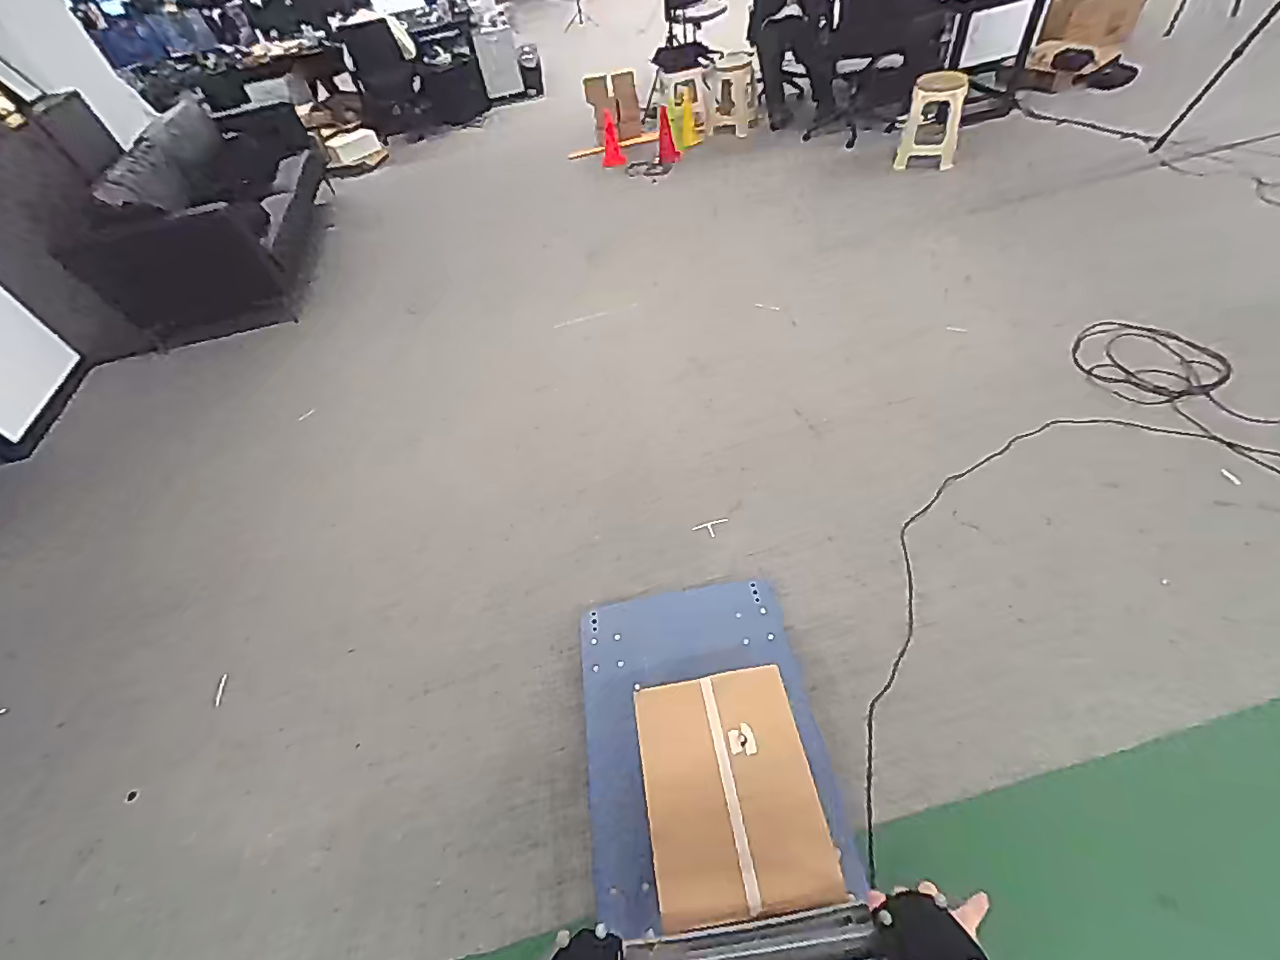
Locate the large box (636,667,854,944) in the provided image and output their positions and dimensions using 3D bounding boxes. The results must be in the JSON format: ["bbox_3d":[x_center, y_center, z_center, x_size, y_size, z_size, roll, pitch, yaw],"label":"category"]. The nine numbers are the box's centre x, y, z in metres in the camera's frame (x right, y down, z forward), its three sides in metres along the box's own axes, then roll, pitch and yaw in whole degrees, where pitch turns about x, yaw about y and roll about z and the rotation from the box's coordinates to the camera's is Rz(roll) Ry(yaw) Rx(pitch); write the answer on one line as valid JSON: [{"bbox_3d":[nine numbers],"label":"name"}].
[{"bbox_3d":[0.192,0.663,1.112,0.320,0.320,0.408,-11,48,0],"label":"large box"}]
